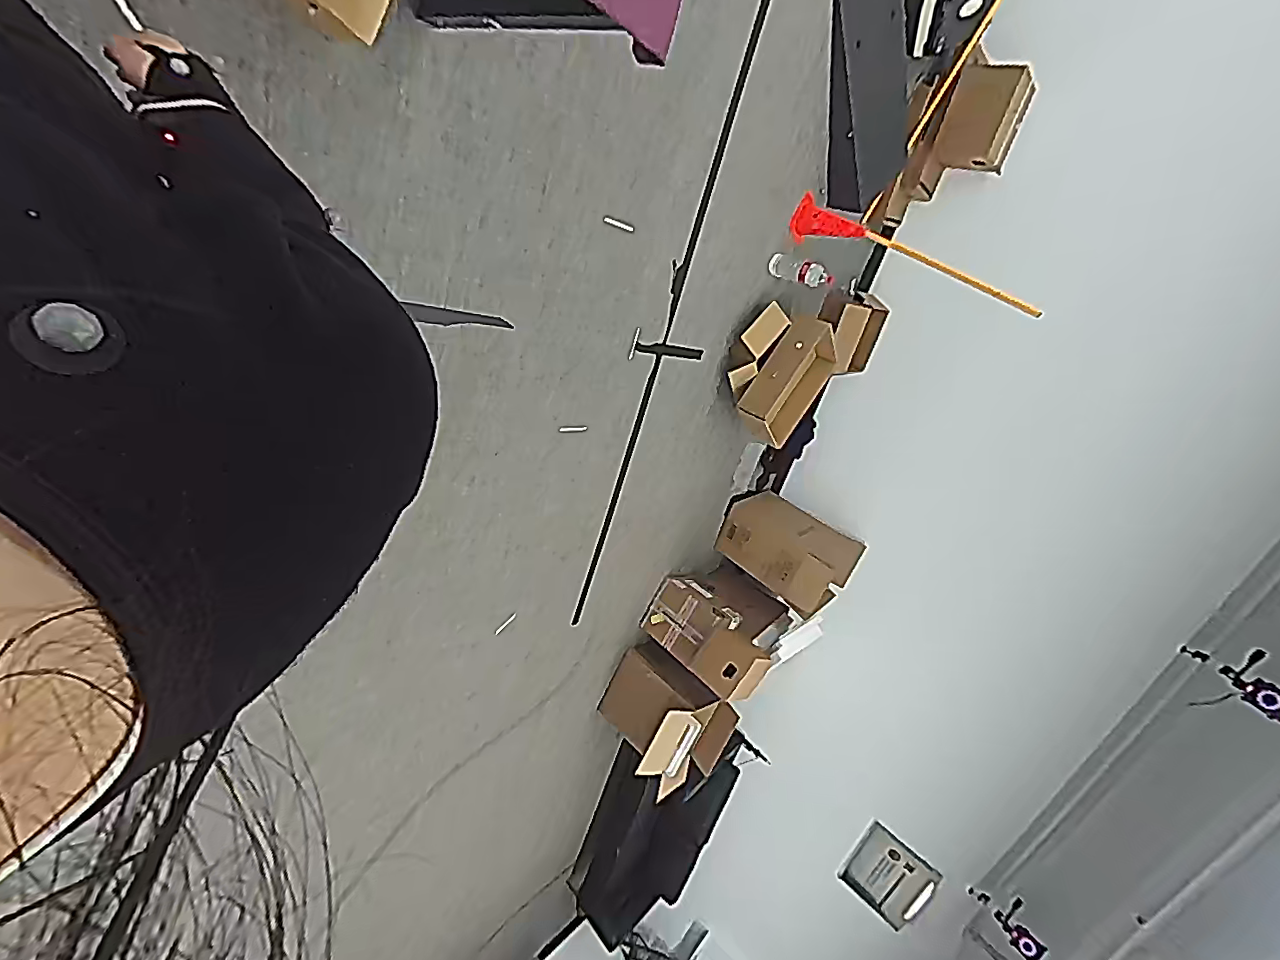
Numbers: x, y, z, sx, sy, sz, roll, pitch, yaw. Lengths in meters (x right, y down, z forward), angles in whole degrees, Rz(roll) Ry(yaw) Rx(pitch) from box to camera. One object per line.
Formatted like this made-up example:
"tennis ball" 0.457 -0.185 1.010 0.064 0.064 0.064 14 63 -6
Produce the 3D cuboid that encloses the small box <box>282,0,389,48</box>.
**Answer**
"small box" -0.597 -0.970 1.022 0.179 0.176 0.168 16 105 -56
